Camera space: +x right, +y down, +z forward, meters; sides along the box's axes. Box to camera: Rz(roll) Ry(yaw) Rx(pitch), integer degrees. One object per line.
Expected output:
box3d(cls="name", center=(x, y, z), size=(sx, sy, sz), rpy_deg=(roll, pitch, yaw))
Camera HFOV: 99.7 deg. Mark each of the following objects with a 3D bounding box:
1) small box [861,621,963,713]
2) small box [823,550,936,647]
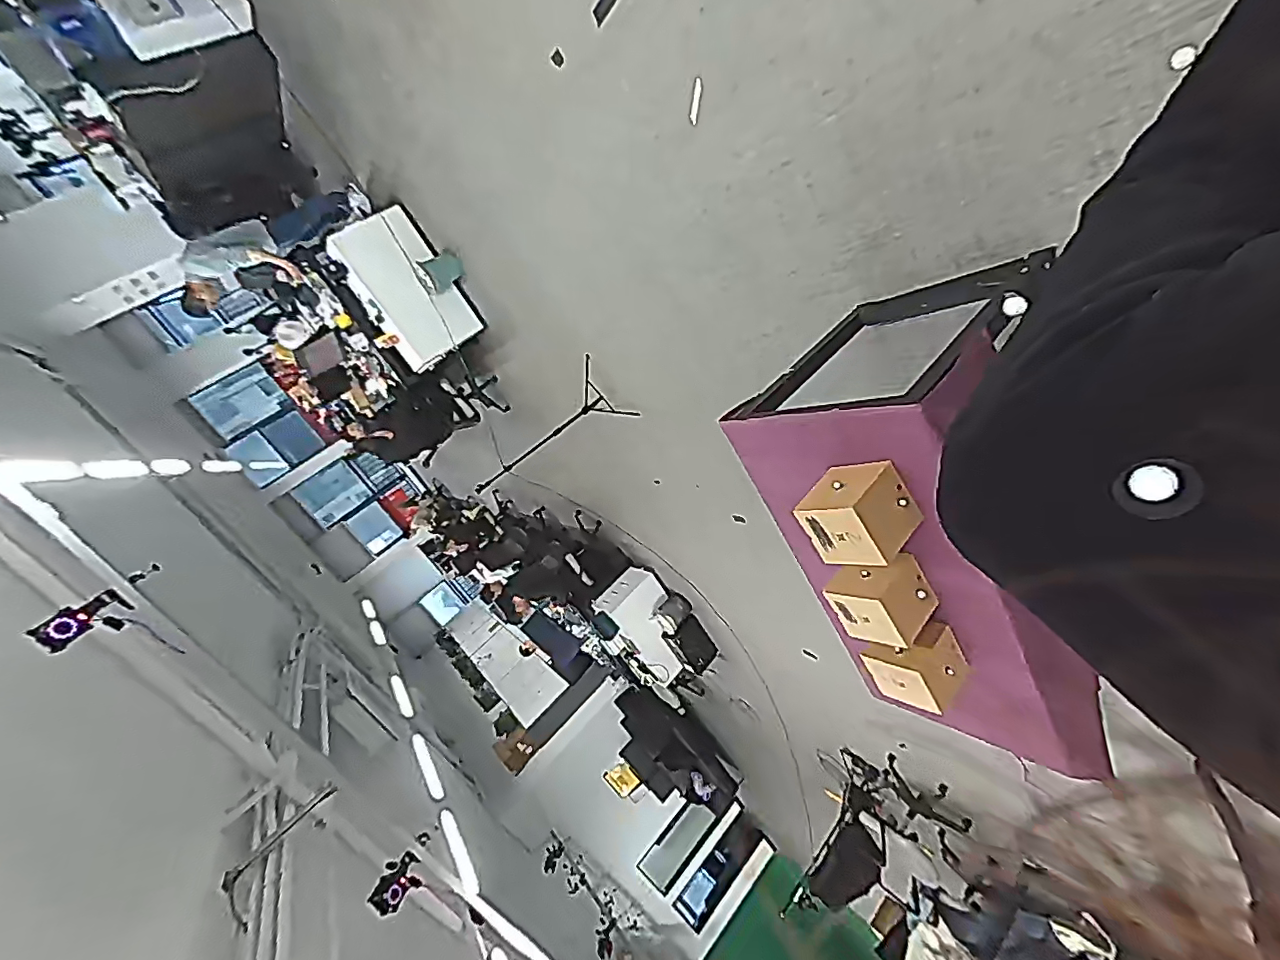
box3d(cls="small box", center=(0.745, 0.489, 1.469), size=(0.168, 0.176, 0.179), rpy_deg=(57, 155, -18))
box3d(cls="small box", center=(0.618, 0.297, 1.394), size=(0.168, 0.176, 0.179), rpy_deg=(55, 155, -15))
